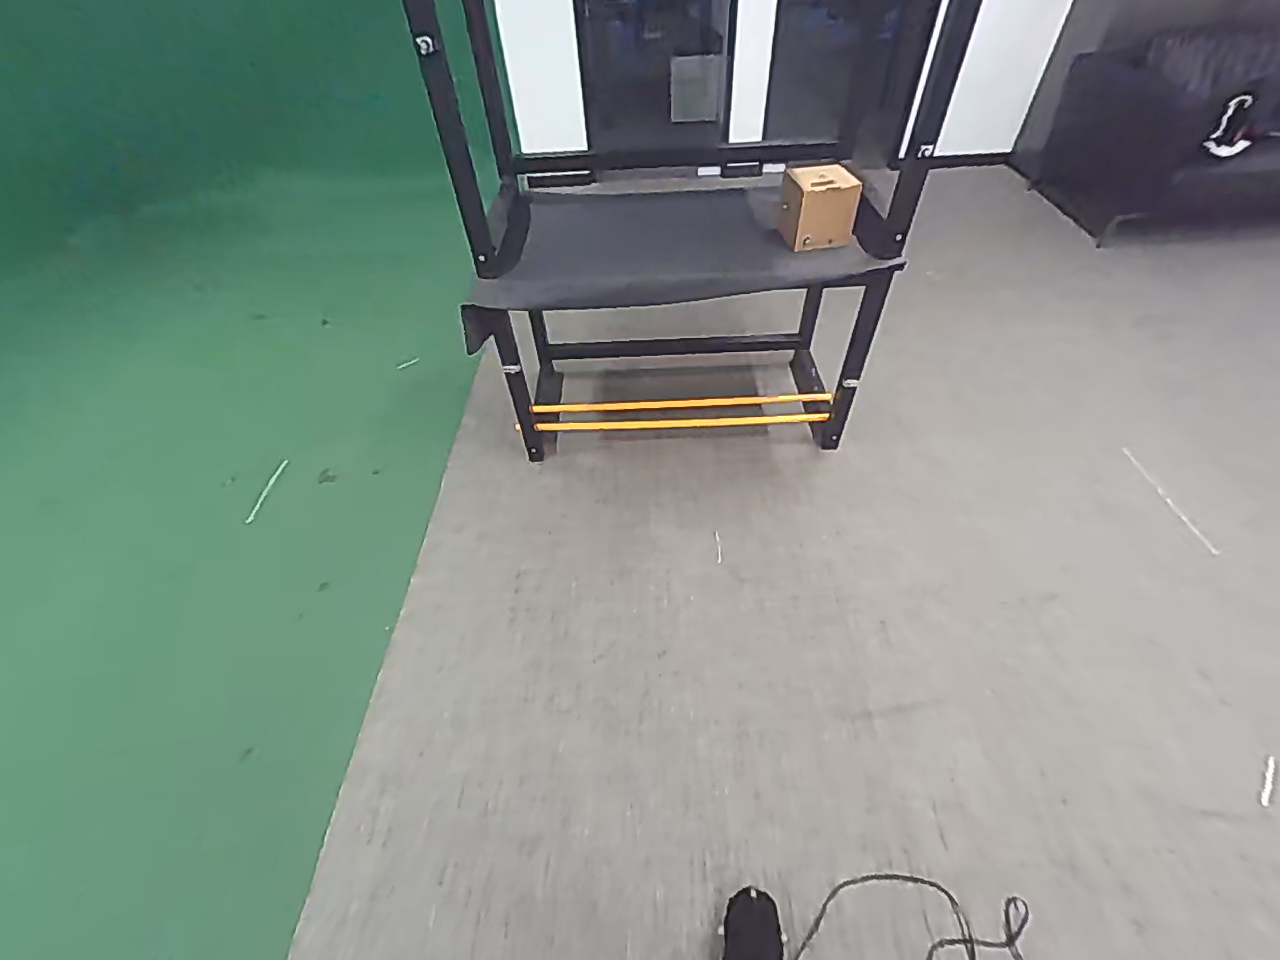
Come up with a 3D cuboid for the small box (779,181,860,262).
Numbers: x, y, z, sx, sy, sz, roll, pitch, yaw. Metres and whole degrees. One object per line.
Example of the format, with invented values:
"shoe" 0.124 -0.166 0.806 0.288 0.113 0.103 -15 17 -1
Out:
"small box" 0.519 -0.755 1.589 0.168 0.176 0.179 -7 45 -3
